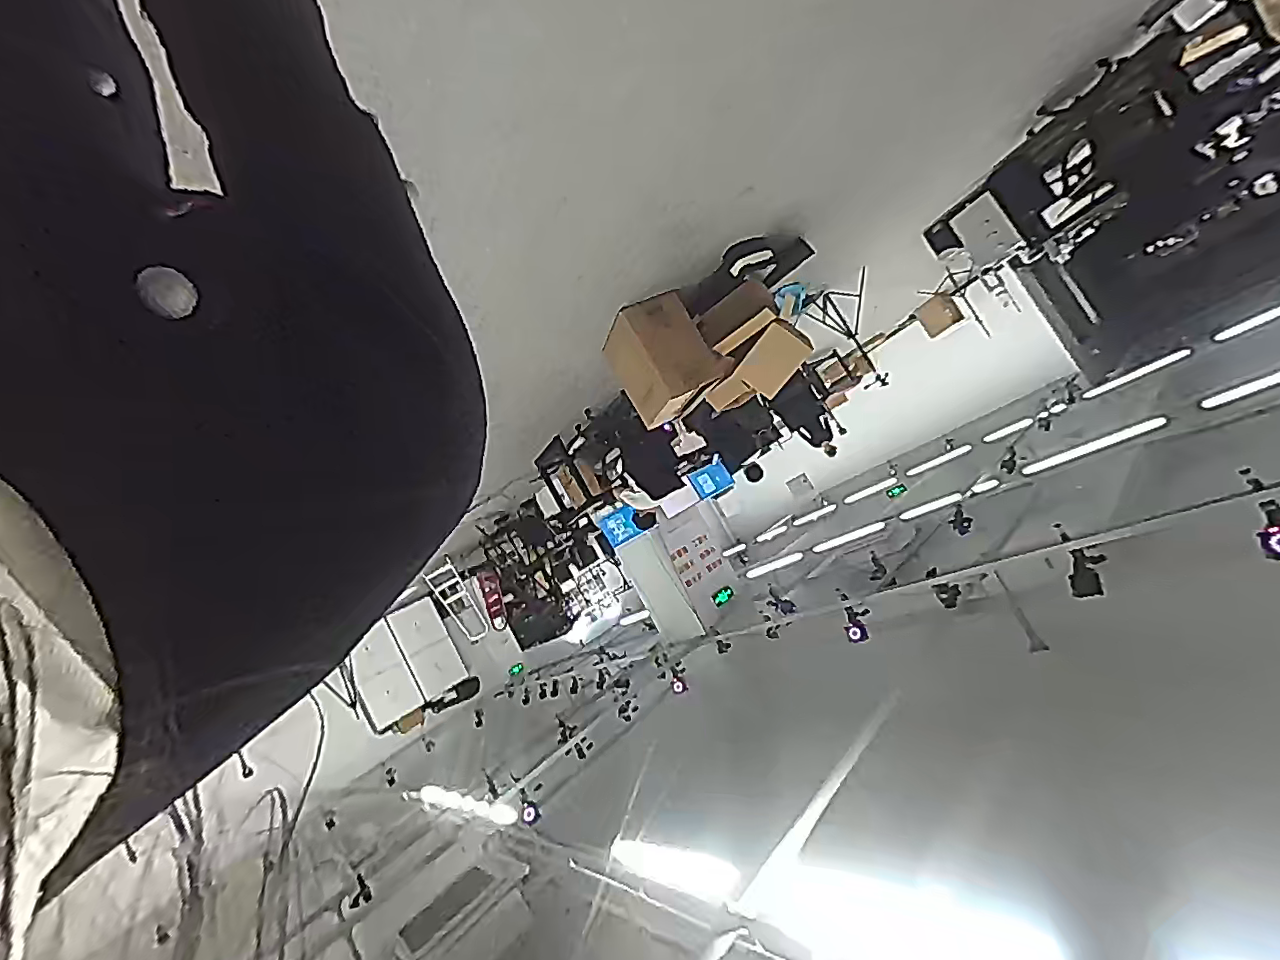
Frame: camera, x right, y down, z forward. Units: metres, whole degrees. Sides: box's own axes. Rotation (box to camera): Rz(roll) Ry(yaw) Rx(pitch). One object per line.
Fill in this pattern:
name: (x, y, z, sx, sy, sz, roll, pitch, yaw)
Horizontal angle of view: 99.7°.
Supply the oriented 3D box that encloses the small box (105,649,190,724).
small box: (-1.706, 0.714, 1.872, 0.179, 0.176, 0.168, -26, 173, -41)
